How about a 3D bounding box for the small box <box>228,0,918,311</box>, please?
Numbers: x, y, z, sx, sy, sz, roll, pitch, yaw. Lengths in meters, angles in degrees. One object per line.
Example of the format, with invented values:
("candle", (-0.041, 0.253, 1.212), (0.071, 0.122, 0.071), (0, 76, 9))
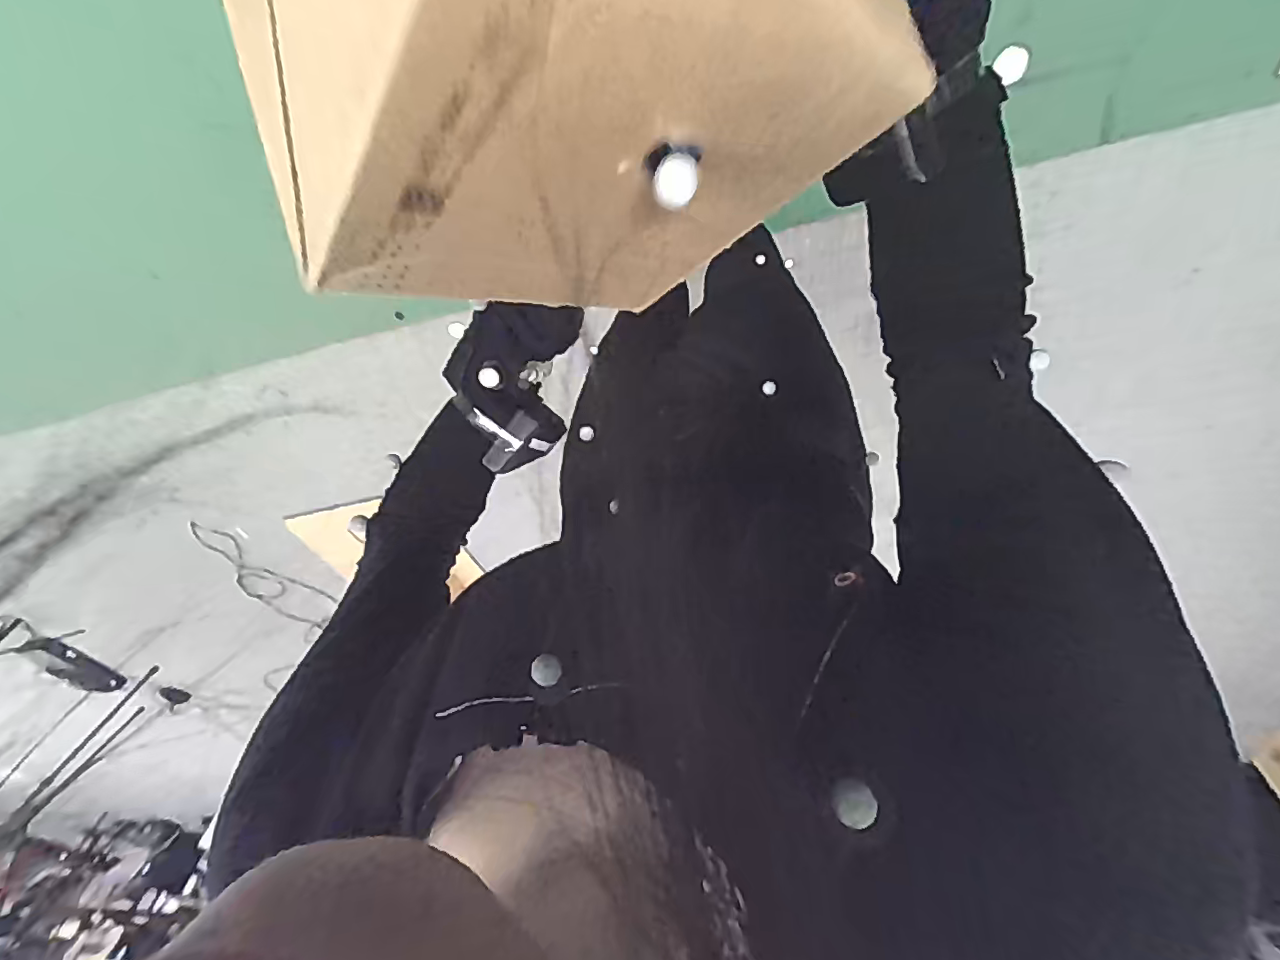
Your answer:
("small box", (-0.036, -0.174, 0.194), (0.168, 0.176, 0.179), (-16, 91, 49))
